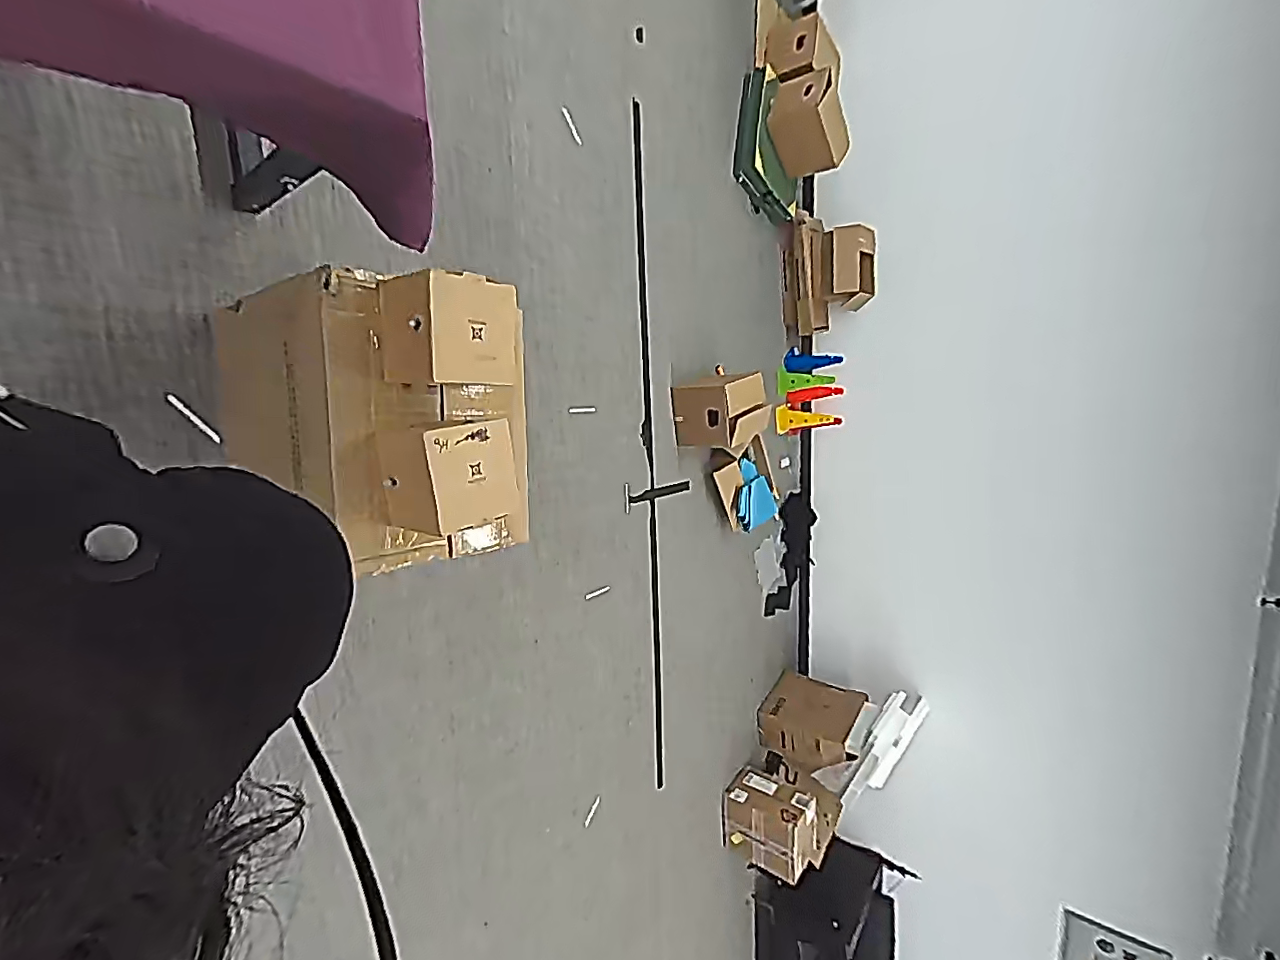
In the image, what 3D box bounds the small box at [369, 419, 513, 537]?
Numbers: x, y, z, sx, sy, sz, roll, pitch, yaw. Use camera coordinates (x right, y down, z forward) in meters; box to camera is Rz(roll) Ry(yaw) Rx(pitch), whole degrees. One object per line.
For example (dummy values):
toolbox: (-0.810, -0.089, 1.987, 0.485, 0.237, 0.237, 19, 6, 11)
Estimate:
small box: (-0.351, -0.014, 0.957, 0.168, 0.176, 0.179, -19, 108, -50)
